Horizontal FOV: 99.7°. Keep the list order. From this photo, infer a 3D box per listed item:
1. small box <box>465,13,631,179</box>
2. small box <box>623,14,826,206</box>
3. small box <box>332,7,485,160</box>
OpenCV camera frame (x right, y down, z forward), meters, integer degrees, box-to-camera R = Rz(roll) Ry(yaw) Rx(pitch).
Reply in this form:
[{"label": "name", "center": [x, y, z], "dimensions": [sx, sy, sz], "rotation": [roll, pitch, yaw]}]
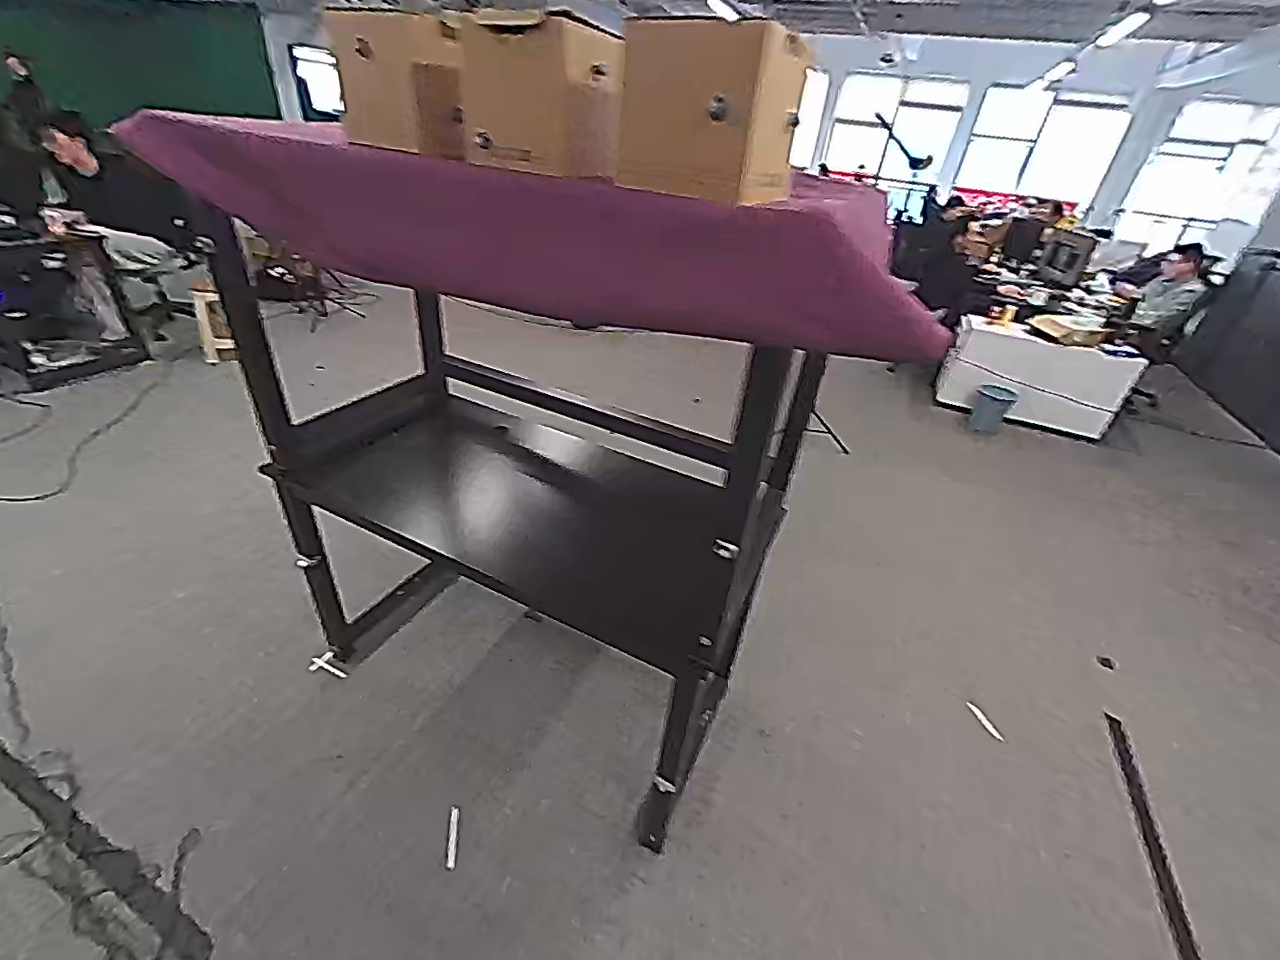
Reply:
[{"label": "small box", "center": [-0.116, -0.522, 0.751], "dimensions": [0.168, 0.176, 0.179], "rotation": [20, 34, 19]}, {"label": "small box", "center": [0.097, -0.433, 0.651], "dimensions": [0.179, 0.176, 0.168], "rotation": [22, 35, 23]}, {"label": "small box", "center": [-0.339, -0.610, 0.846], "dimensions": [0.179, 0.176, 0.168], "rotation": [22, 36, 22]}]
